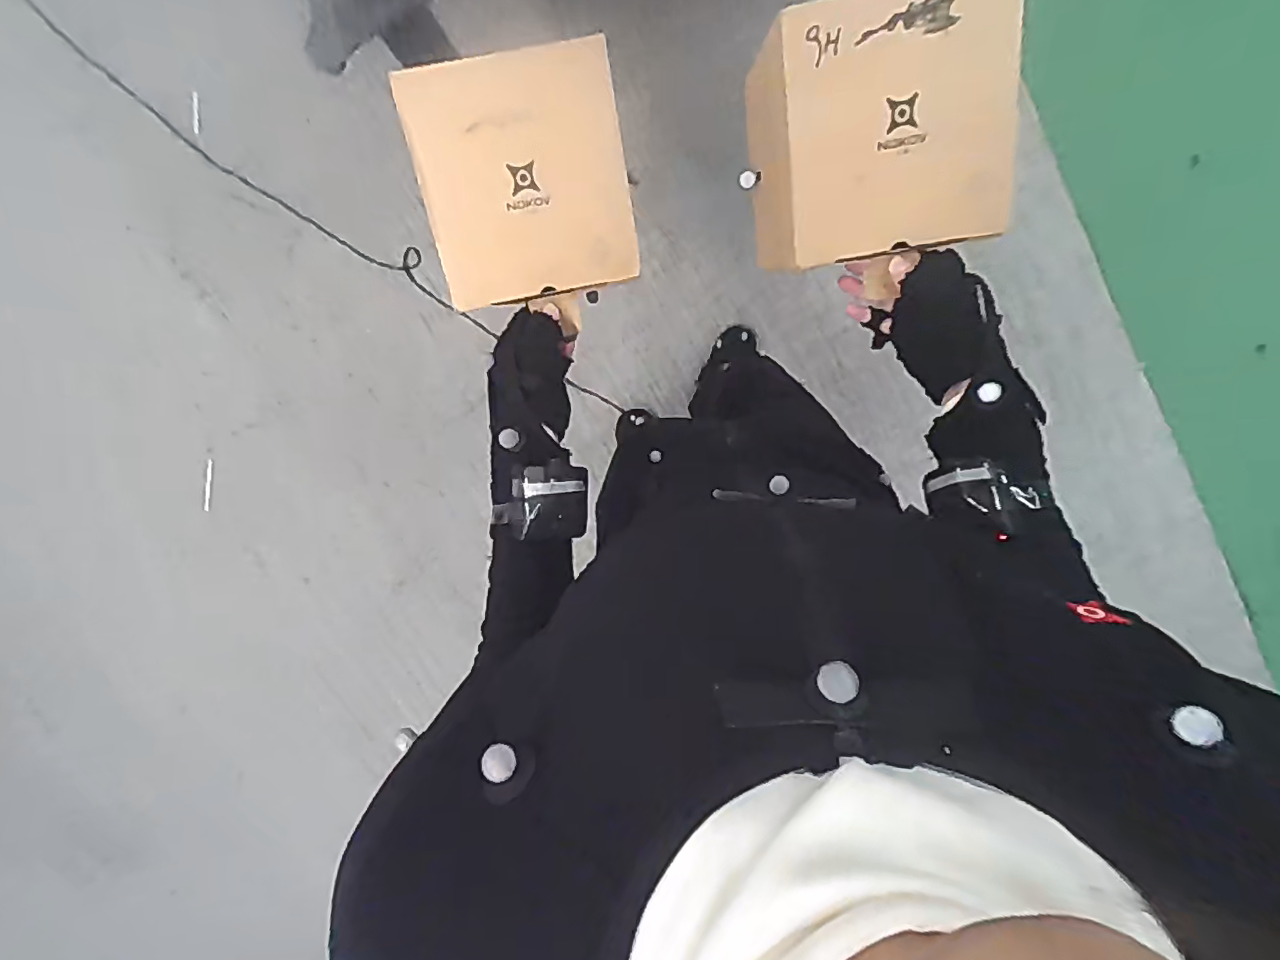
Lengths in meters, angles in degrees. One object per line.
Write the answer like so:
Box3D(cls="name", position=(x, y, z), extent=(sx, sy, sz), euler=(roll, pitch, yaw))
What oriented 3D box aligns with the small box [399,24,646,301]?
Box3D(cls="small box", position=(-0.093, -0.276, 0.510), extent=(0.168, 0.176, 0.179), euler=(-12, 110, -1))
